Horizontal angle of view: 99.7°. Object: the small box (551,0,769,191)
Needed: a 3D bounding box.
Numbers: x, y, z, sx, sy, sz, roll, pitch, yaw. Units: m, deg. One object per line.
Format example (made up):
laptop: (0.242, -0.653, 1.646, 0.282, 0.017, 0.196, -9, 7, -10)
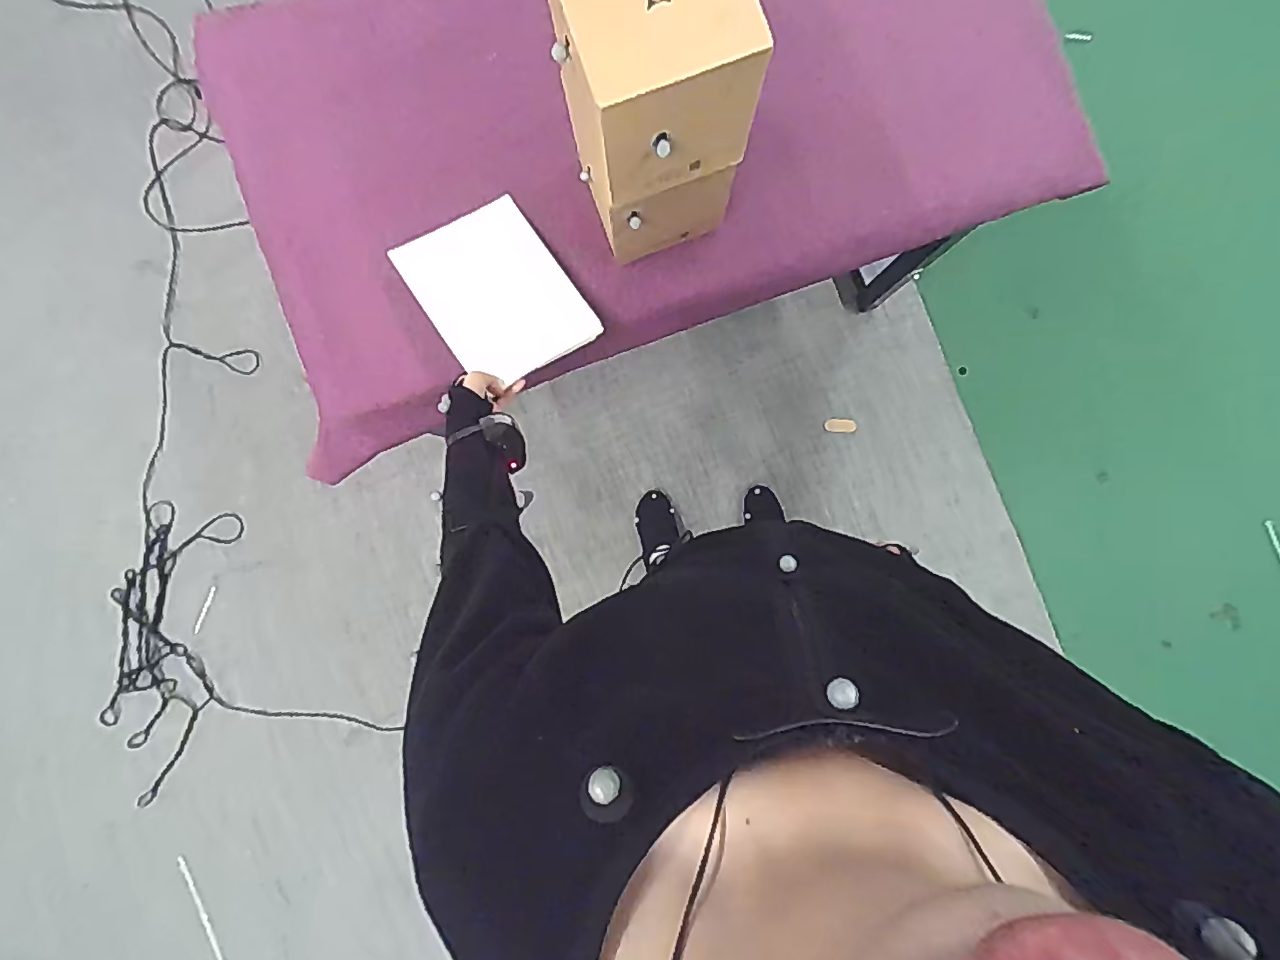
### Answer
small box: (0.014, -0.432, 0.555, 0.168, 0.176, 0.179, -19, 87, 1)
